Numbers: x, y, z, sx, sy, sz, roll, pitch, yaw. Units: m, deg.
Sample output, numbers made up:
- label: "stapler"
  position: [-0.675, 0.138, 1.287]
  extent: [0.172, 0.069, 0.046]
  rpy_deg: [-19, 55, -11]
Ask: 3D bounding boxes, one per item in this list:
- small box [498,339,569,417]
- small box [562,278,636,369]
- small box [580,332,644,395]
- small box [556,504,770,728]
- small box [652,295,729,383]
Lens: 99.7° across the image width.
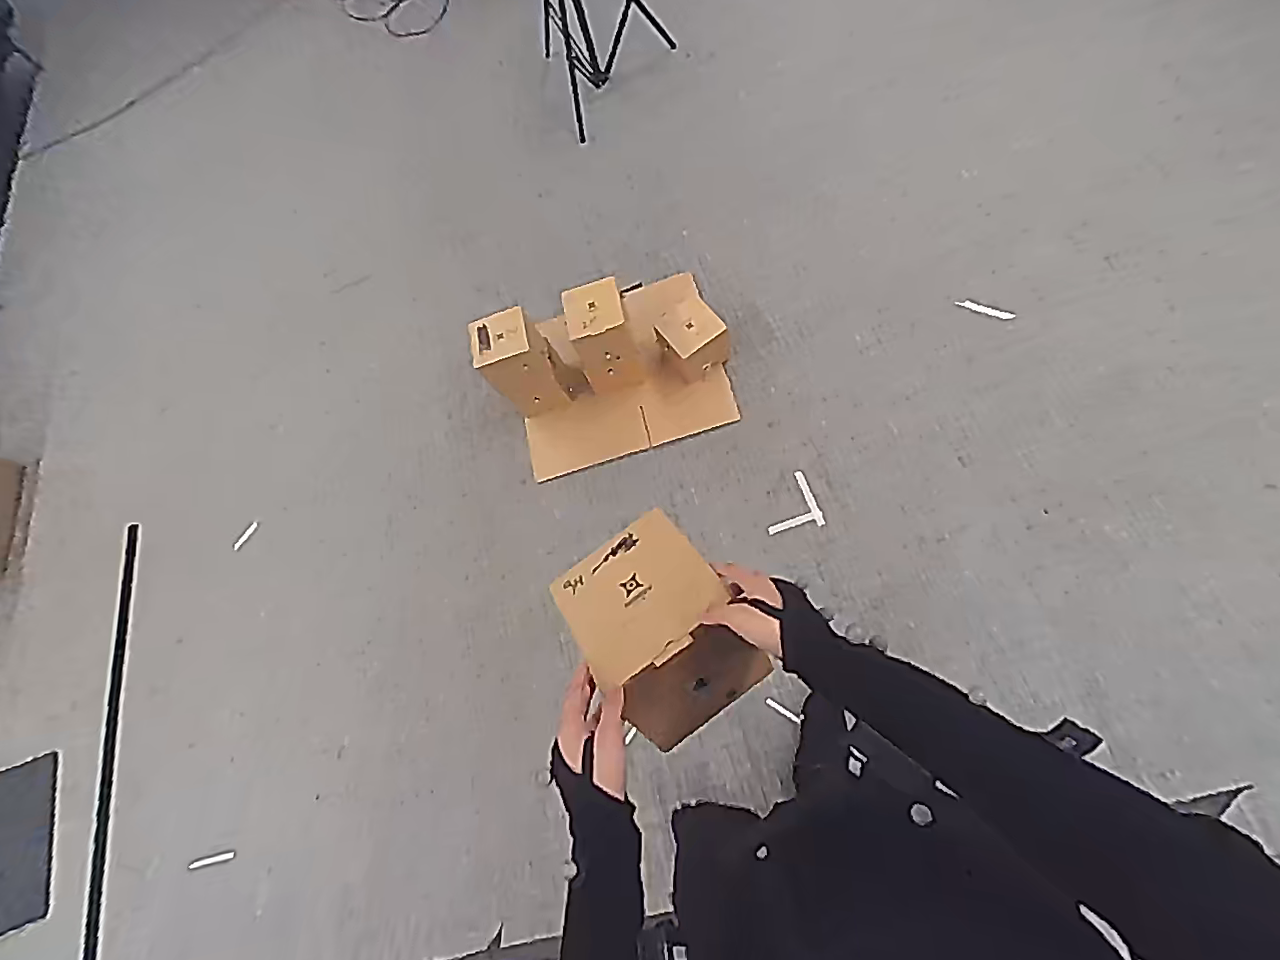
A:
- label: "small box"
  position: [-0.348, -0.335, 1.799]
  extent: [0.179, 0.176, 0.168]
  rpy_deg: [-18, 68, 8]
- label: "small box"
  position: [-0.120, -0.461, 1.612]
  extent: [0.168, 0.176, 0.179]
  rpy_deg: [-15, 69, 8]
- label: "small box"
  position: [-0.093, -0.404, 1.764]
  extent: [0.179, 0.176, 0.168]
  rpy_deg: [-16, 69, 8]
- label: "small box"
  position: [0.031, 0.169, 0.648]
  extent: [0.168, 0.176, 0.179]
  rpy_deg: [-35, 42, -5]
- label: "small box"
  position: [0.164, -0.441, 1.715]
  extent: [0.168, 0.176, 0.179]
  rpy_deg: [-36, 66, 0]
